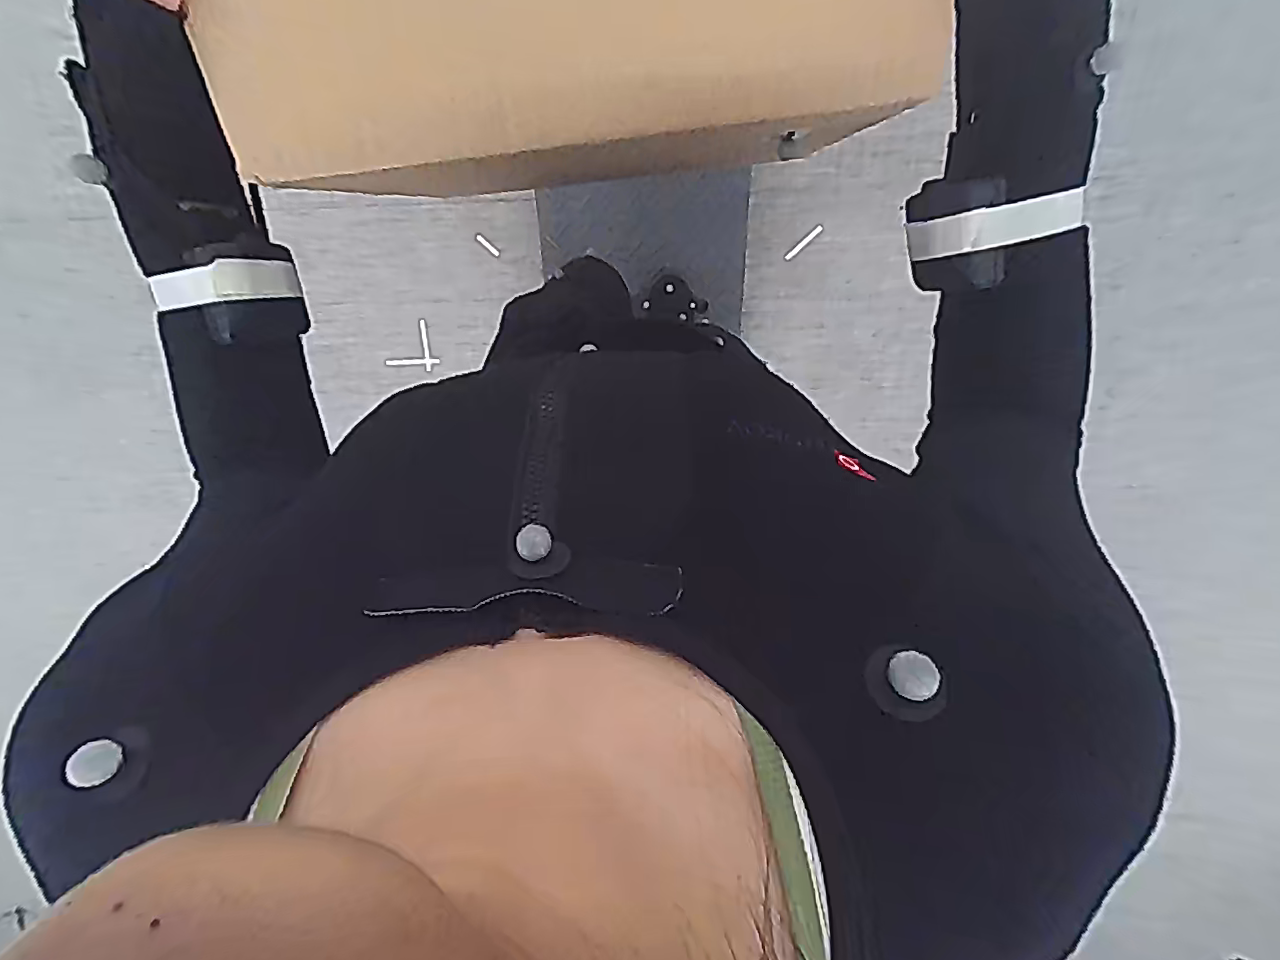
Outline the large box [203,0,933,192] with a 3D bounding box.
[{"bbox_3d":[-0.045,-0.406,0.389,0.408,0.320,0.320,-4,115,5],"label":"large box"}]
